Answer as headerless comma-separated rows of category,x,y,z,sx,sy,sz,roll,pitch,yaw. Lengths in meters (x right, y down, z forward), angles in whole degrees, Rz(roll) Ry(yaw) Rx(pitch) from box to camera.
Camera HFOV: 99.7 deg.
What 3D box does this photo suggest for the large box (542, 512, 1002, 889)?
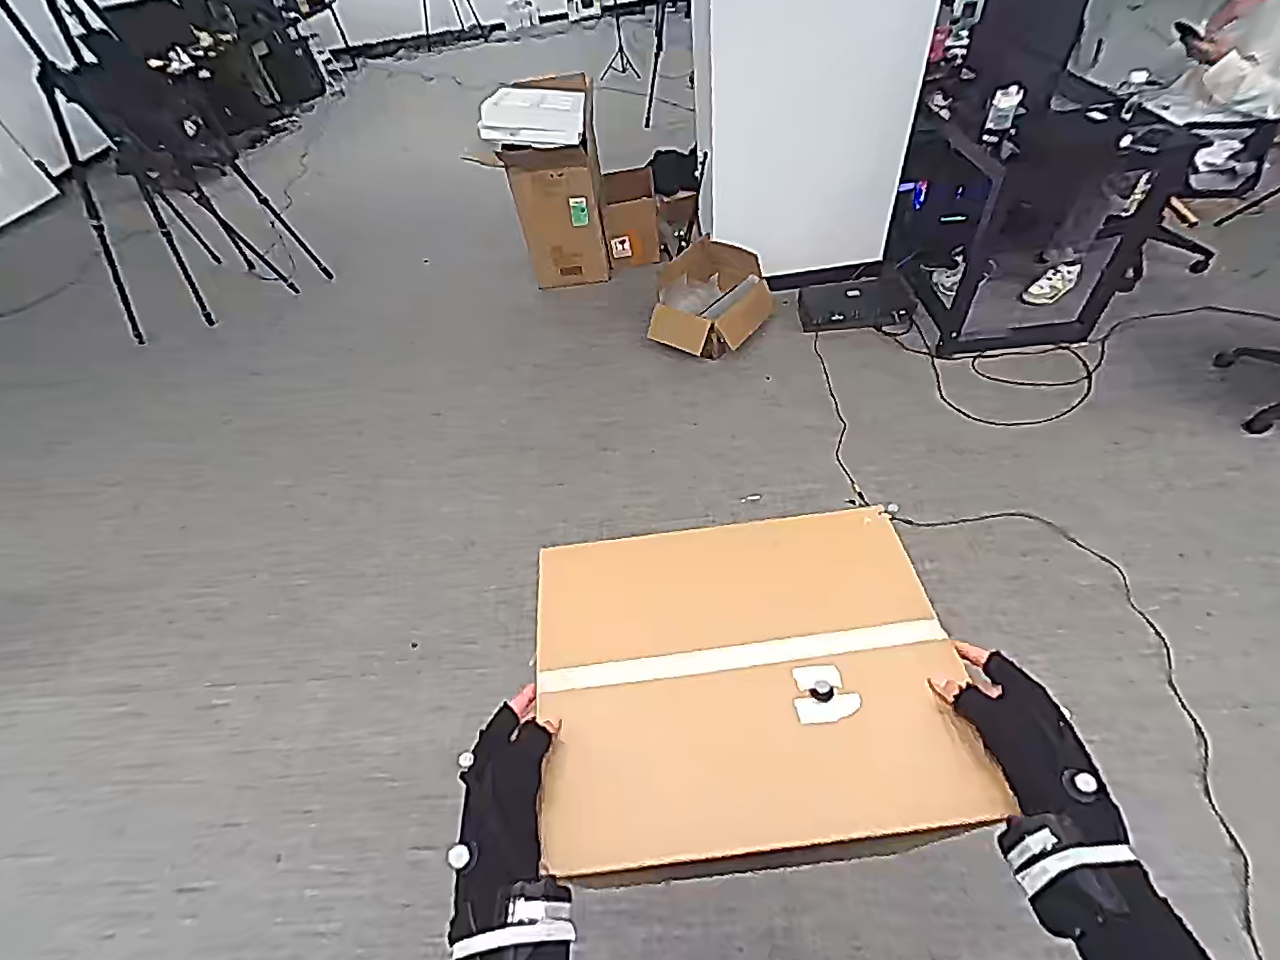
large box,0.108,0.276,0.663,0.408,0.320,0.320,-7,51,0
